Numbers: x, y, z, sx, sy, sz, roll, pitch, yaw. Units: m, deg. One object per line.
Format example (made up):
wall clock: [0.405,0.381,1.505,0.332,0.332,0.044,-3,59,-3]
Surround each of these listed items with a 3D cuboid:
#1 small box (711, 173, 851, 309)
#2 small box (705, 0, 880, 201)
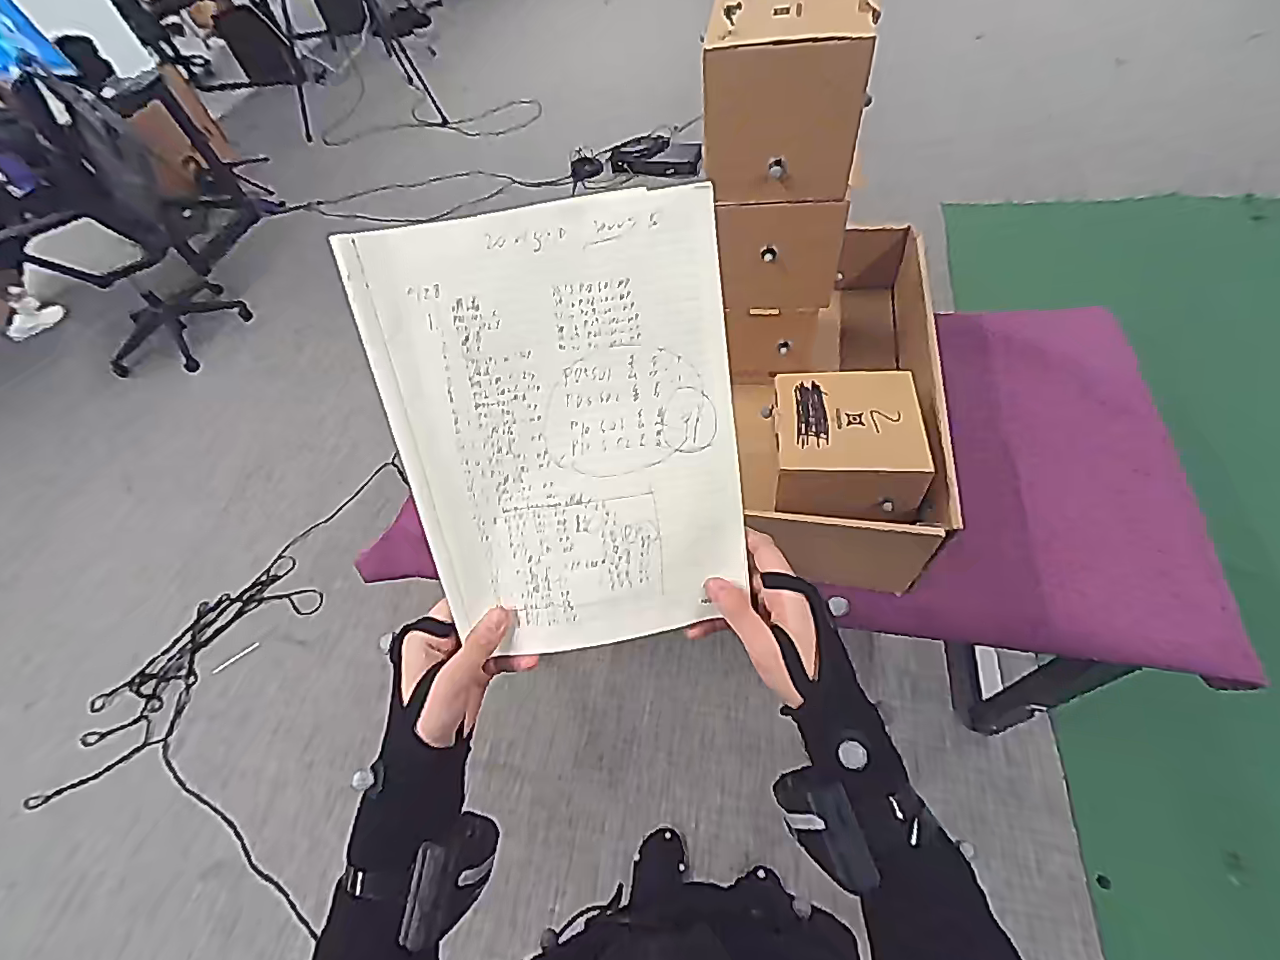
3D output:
small box: [0.199,-0.368,0.792,0.179,0.176,0.168,3,57,11]
small box: [0.177,-0.463,0.660,0.179,0.176,0.168,6,57,11]
